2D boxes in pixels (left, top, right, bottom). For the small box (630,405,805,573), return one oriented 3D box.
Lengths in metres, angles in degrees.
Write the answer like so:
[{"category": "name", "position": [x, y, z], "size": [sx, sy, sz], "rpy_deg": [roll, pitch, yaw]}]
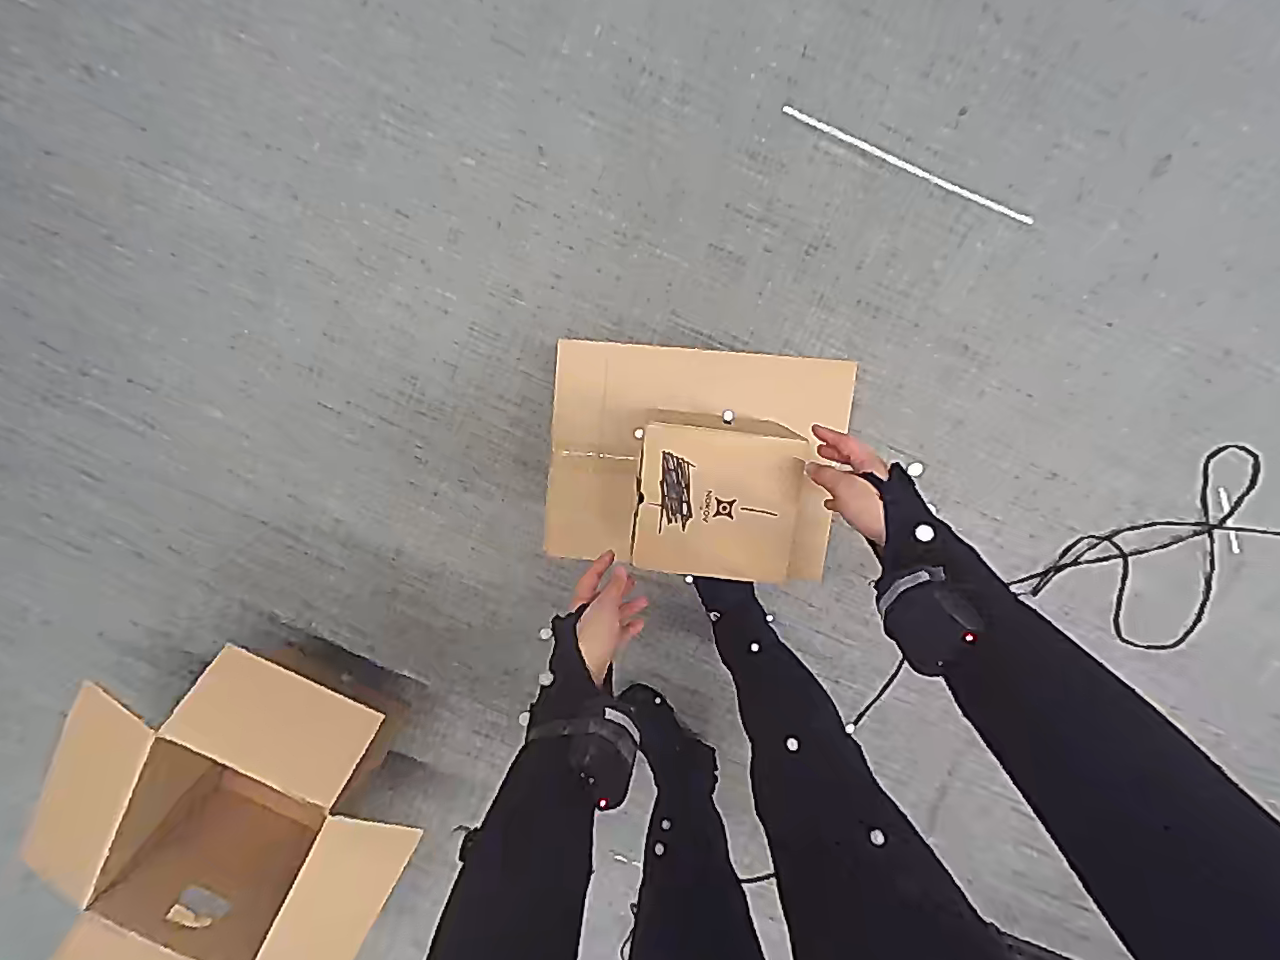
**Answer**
[{"category": "small box", "position": [0.087, 0.000, 0.674], "size": [0.179, 0.176, 0.168], "rpy_deg": [6, 103, 1]}]
